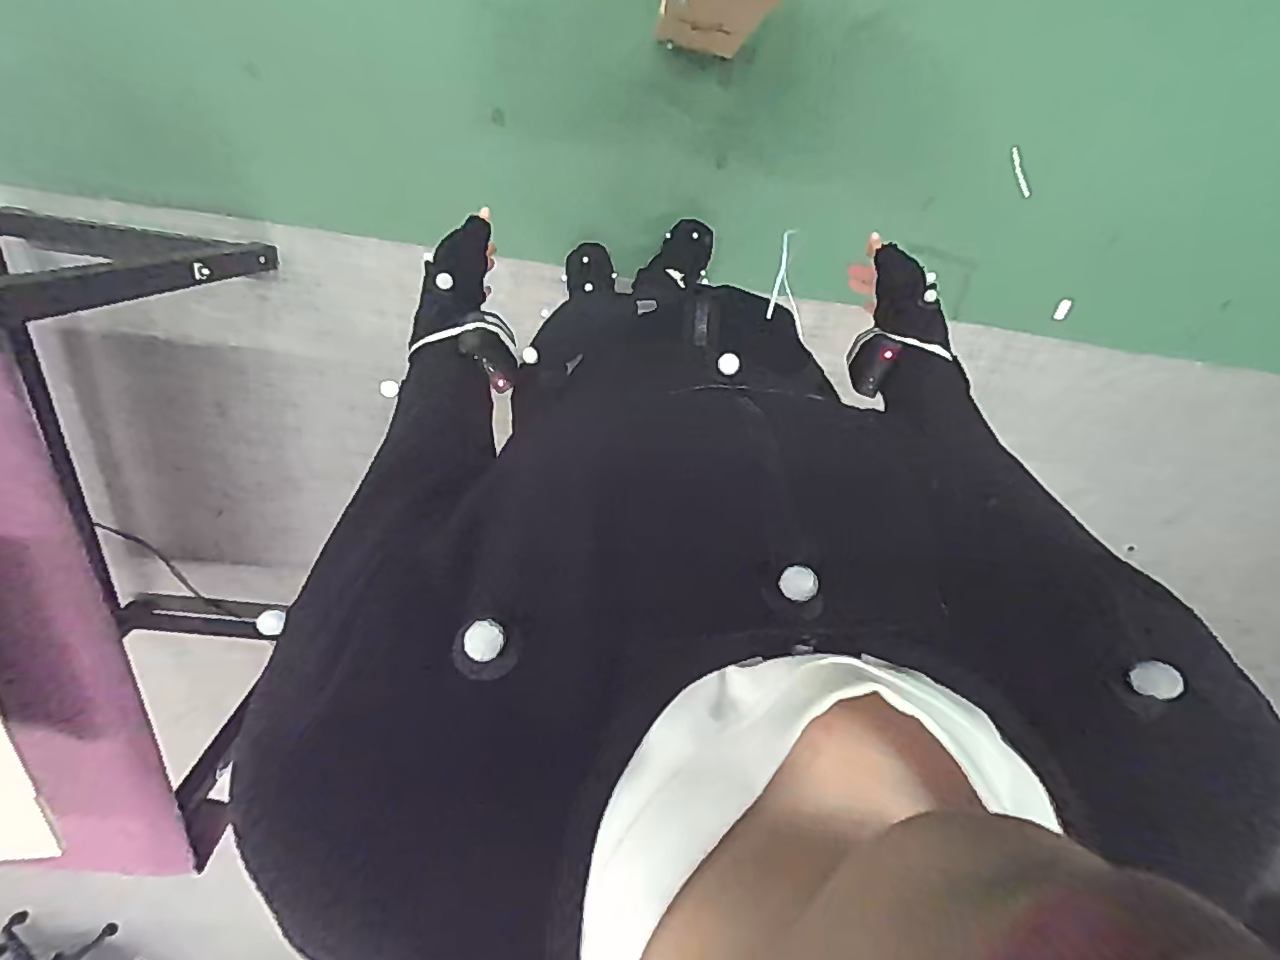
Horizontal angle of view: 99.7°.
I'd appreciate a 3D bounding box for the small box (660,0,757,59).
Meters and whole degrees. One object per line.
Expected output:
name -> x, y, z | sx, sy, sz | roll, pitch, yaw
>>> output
small box -> 0.135, -0.927, 1.016 | 0.168, 0.176, 0.179 | 8, 116, -7
